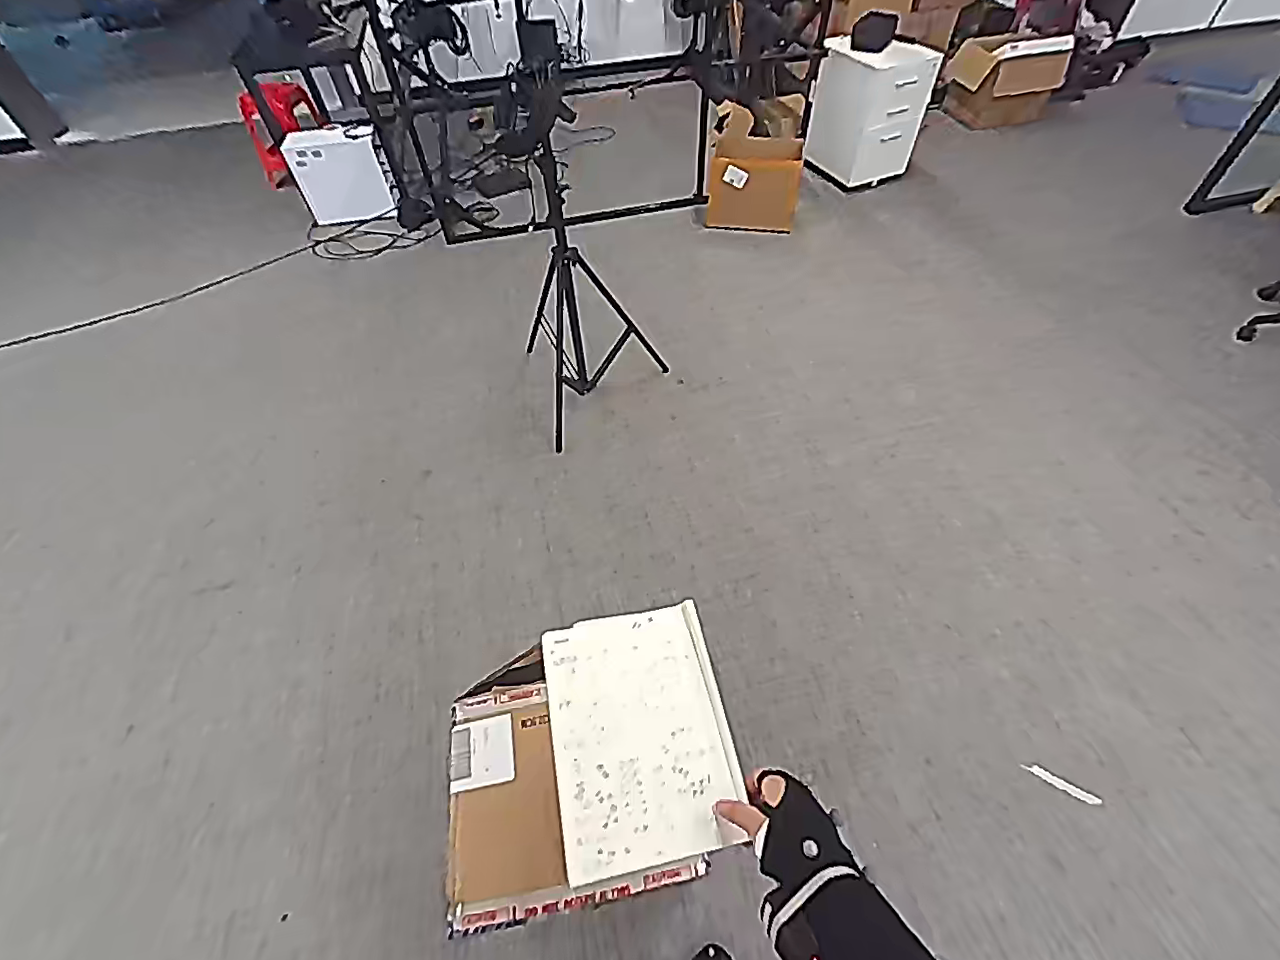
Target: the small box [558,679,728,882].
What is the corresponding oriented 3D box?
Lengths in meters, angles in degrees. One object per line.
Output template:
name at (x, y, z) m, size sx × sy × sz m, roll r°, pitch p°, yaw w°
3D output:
small box at (-0.005, 0.372, 0.668) m, size 0.168 × 0.176 × 0.179 m, roll -9°, pitch 54°, yaw -8°
